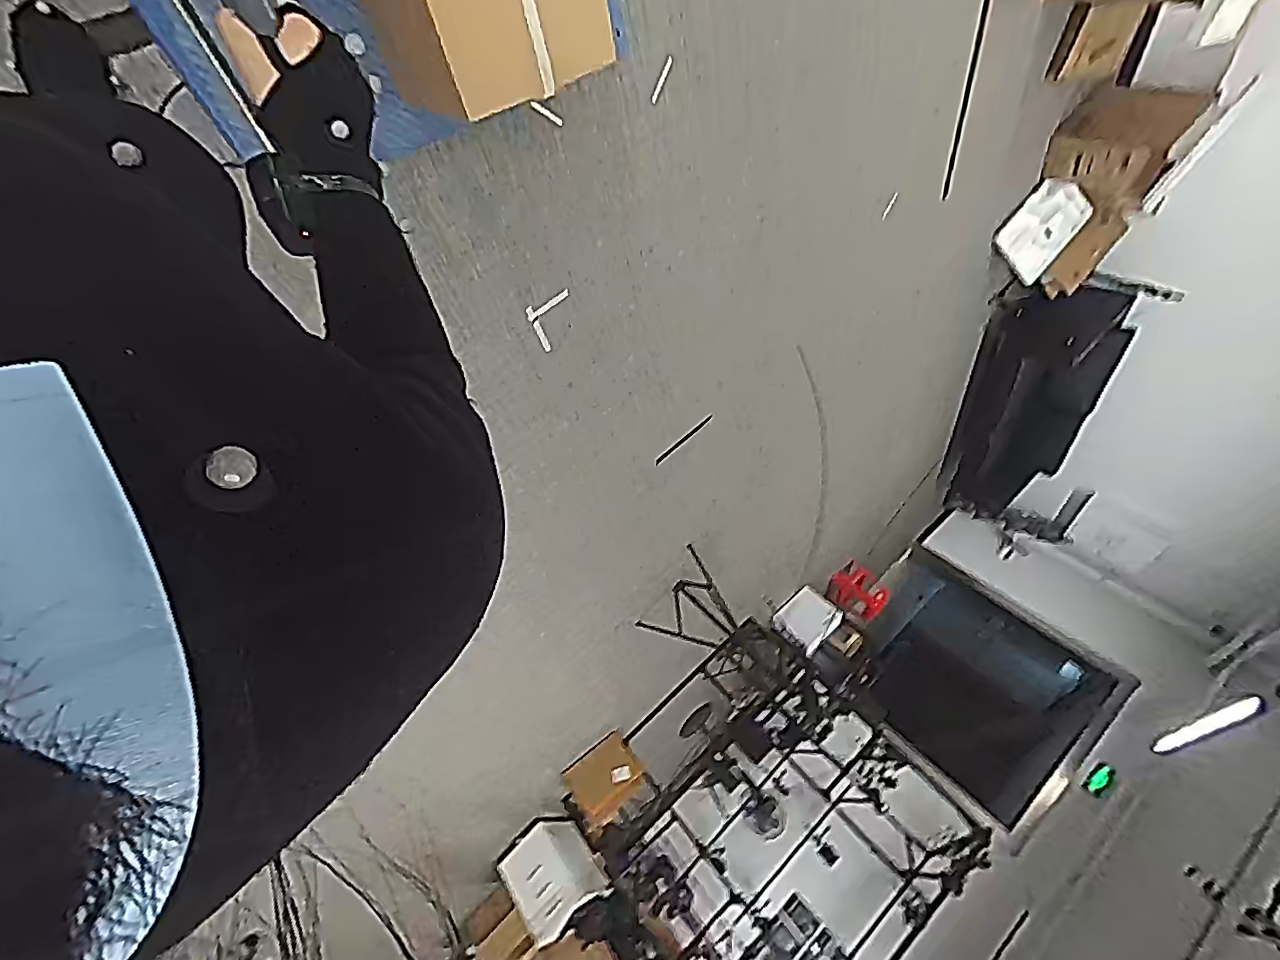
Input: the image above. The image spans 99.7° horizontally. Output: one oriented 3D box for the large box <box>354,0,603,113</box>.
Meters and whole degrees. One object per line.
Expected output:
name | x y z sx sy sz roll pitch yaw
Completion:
large box | -0.310 -0.887 0.873 0.320 0.320 0.408 -37 141 -19
